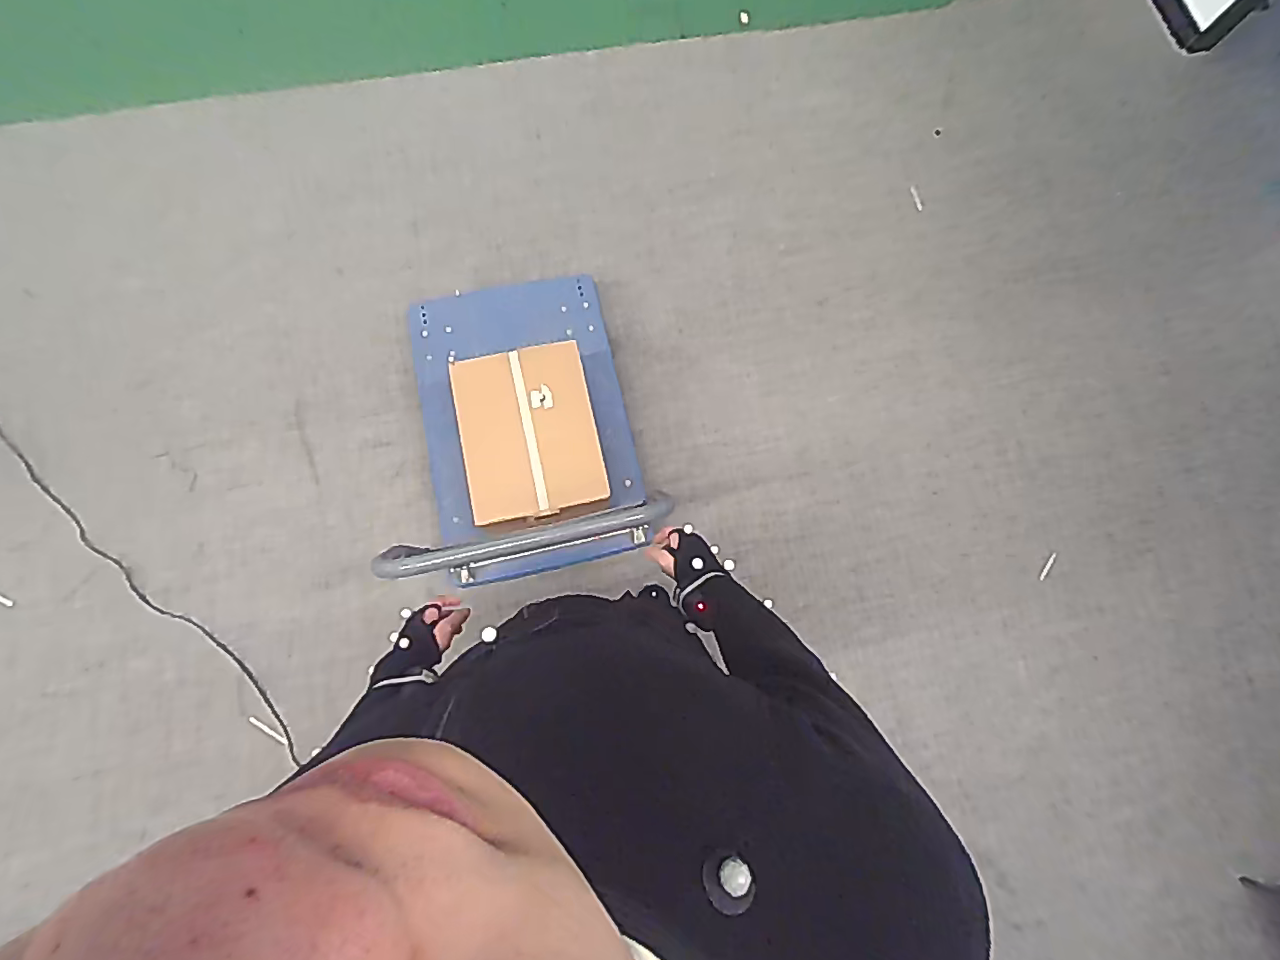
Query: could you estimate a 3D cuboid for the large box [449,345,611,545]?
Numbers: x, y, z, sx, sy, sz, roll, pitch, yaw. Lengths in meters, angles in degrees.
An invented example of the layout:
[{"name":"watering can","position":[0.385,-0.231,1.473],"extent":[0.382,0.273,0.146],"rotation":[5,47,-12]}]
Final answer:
[{"name":"large box","position":[-0.269,-0.077,1.407],"extent":[0.320,0.320,0.408],"rotation":[-12,77,-7]}]
